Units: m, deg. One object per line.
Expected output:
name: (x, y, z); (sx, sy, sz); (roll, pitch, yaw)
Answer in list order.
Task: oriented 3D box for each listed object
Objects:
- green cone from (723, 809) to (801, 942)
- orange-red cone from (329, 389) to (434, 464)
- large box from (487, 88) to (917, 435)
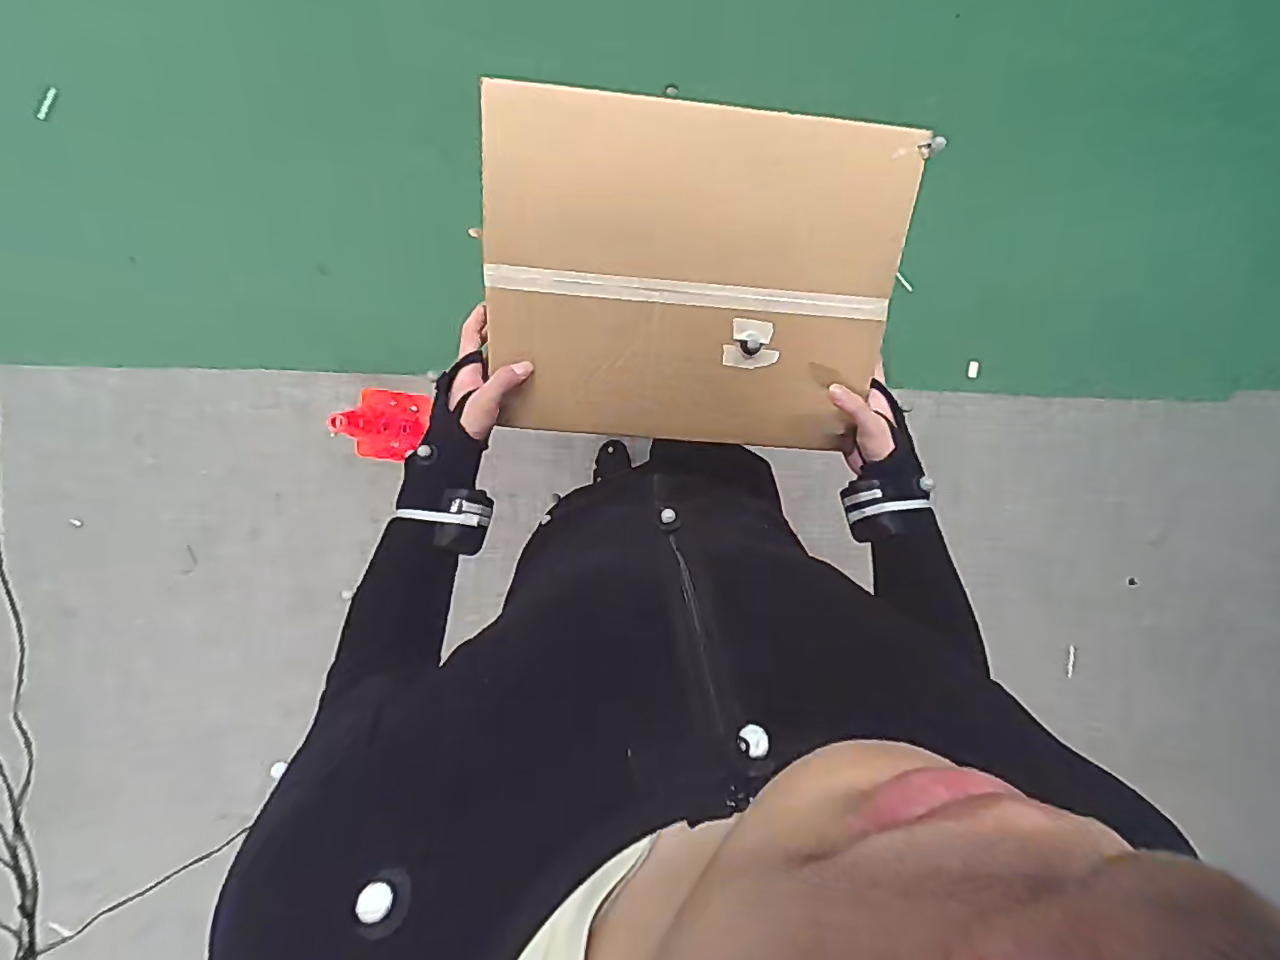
green cone: (0.390, 1.183, 1.590); (0.200, 0.368, 0.202); (6, 93, -6)
orange-red cone: (-0.693, -0.142, 1.387); (0.199, 0.360, 0.198); (8, 93, -4)
large box: (0.044, -0.255, 0.683); (0.408, 0.320, 0.320); (3, 114, -5)
